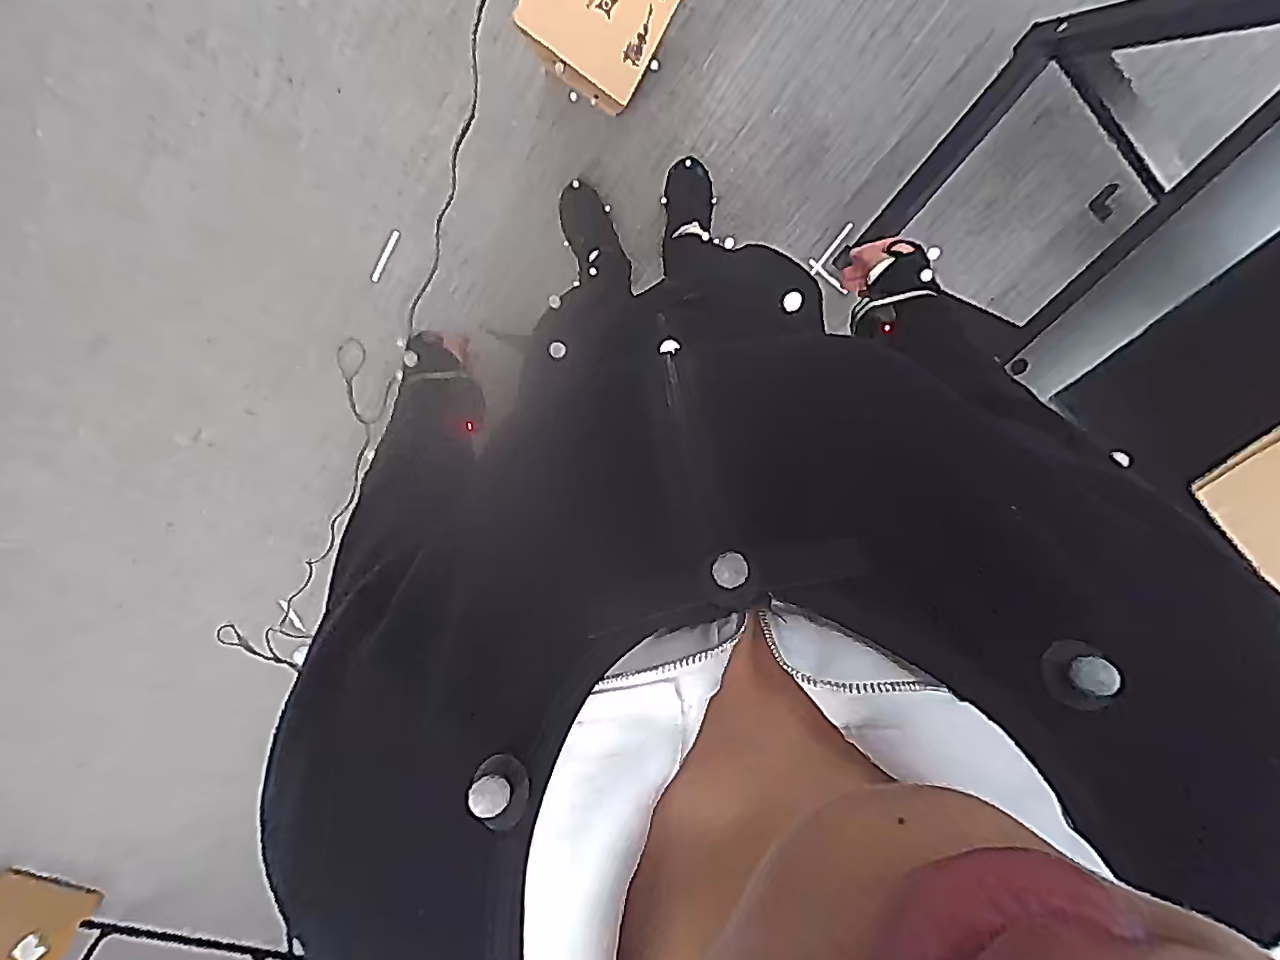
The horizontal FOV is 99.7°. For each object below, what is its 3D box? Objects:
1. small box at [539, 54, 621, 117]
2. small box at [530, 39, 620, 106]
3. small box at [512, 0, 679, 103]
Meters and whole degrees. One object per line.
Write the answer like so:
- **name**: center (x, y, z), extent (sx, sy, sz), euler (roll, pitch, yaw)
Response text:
- **small box**: center (-0.077, -0.836, 1.038), extent (0.168, 0.176, 0.179), euler (27, 117, -19)
- **small box**: center (-0.067, -0.757, 0.898), extent (0.168, 0.176, 0.179), euler (23, 116, -18)
- **small box**: center (-0.056, -0.664, 0.762), extent (0.179, 0.176, 0.168), euler (27, 117, -19)
